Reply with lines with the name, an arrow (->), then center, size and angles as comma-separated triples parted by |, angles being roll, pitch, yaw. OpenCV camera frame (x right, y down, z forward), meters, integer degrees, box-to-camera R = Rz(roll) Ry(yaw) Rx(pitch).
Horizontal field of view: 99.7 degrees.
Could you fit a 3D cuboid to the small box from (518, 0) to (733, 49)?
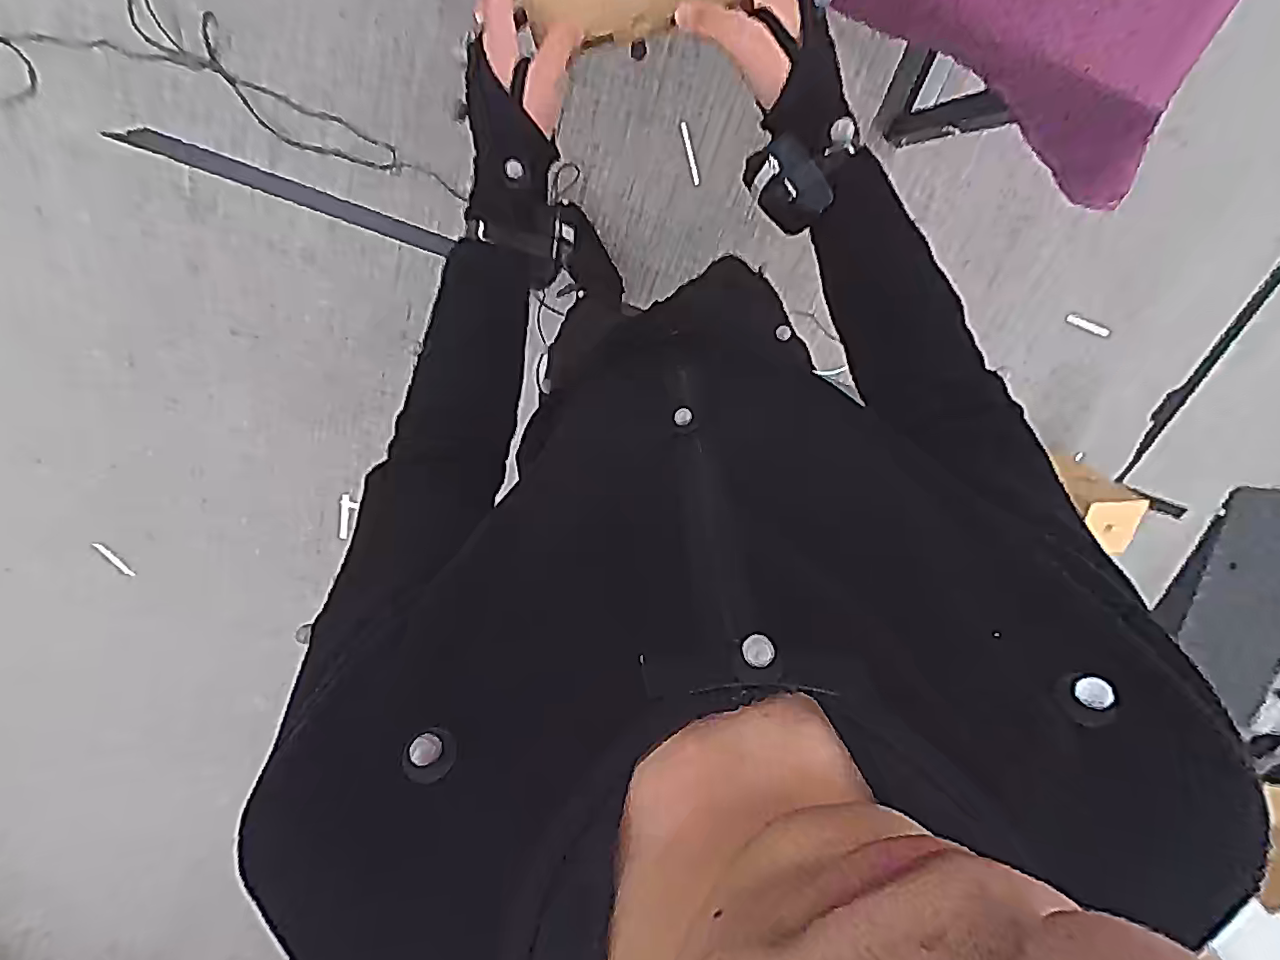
small box -> -0.023, -0.461, 0.416 | 0.168, 0.176, 0.179 | -10, 128, 5
